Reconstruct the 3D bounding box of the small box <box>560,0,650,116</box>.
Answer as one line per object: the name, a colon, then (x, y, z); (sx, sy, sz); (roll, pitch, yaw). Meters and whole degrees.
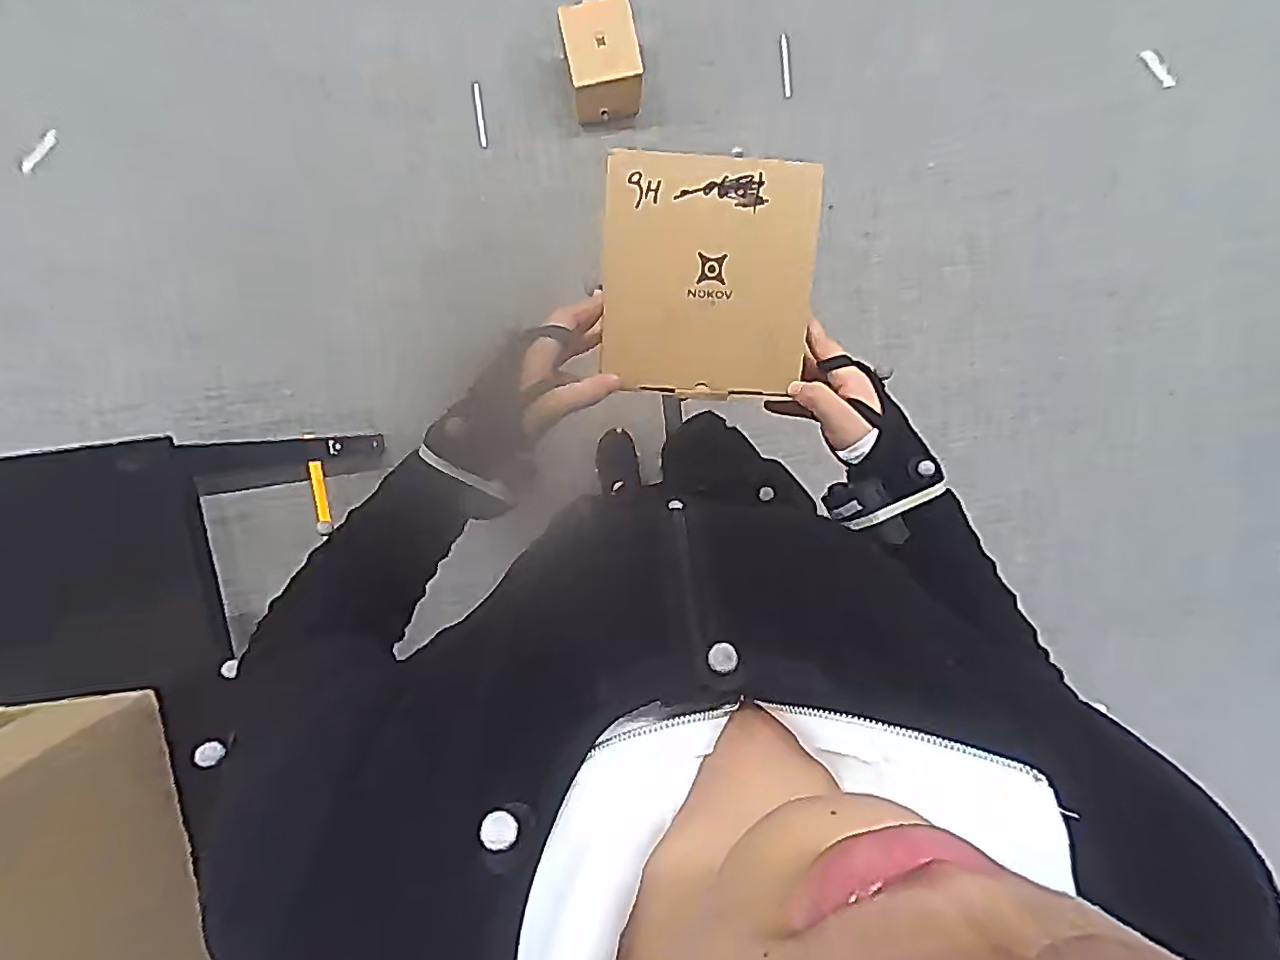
small box: (-0.080, -0.971, 1.221); (0.168, 0.176, 0.179); (-14, 98, -1)
